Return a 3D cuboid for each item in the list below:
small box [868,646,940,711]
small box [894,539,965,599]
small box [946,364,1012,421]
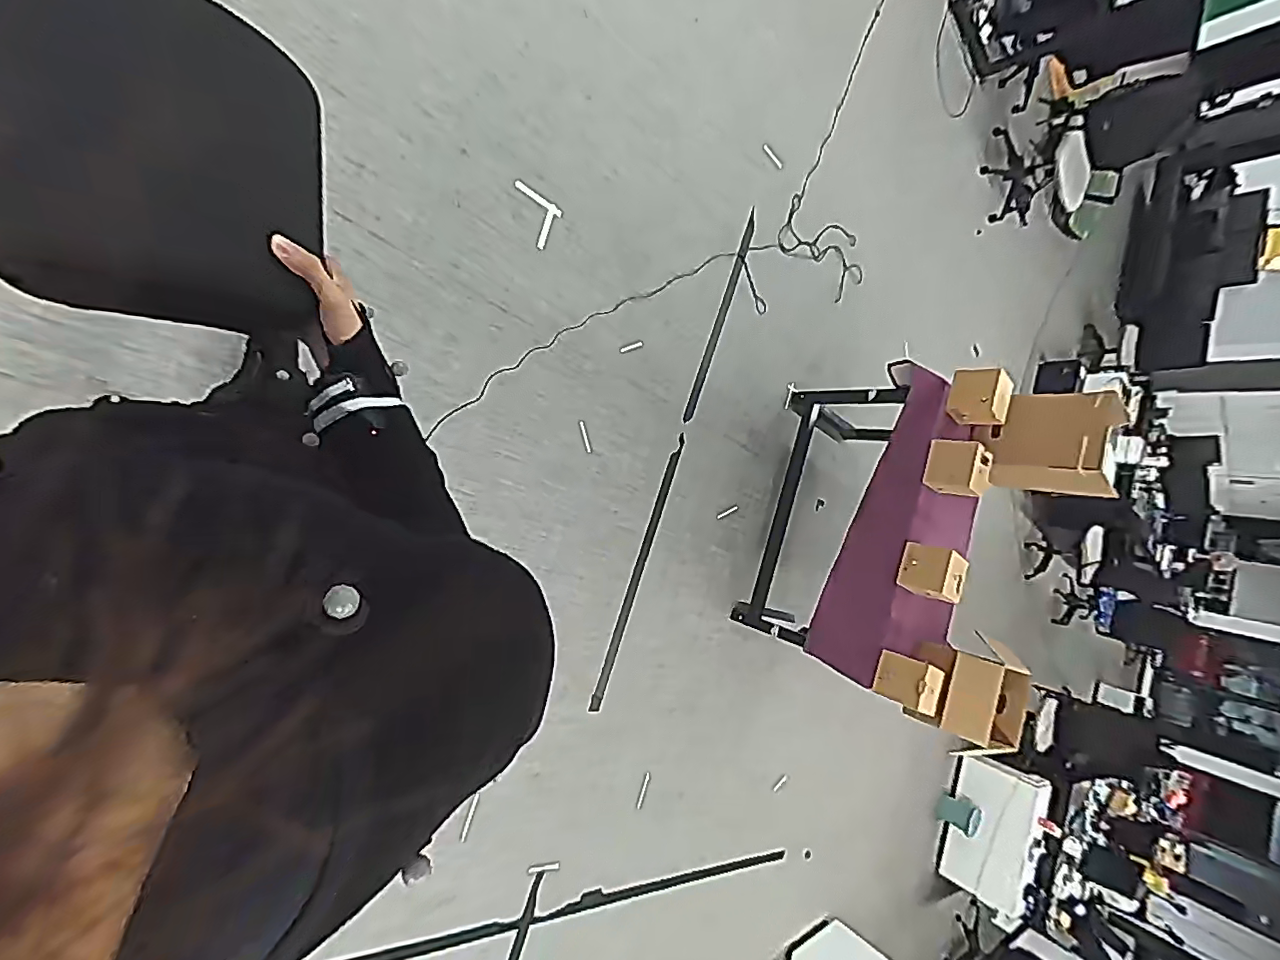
[{"bbox_3d":[0.978,0.731,2.003,0.179,0.176,0.168,31,76,-39],"label":"small box"},{"bbox_3d":[1.093,0.333,2.043,0.179,0.176,0.168,27,78,-39],"label":"small box"},{"bbox_3d":[1.349,-0.349,2.156,0.168,0.176,0.179,22,84,-40],"label":"small box"}]
